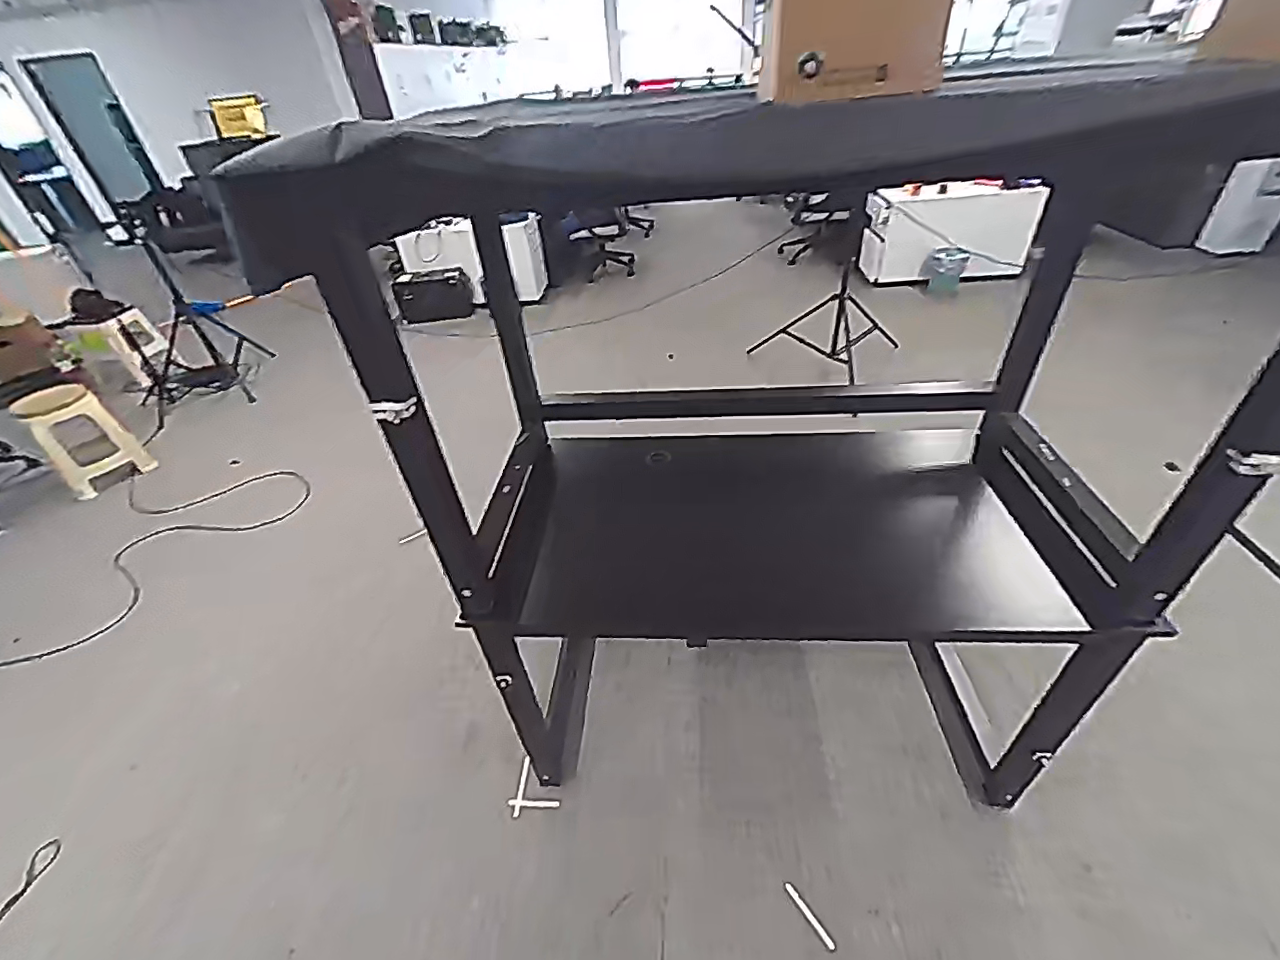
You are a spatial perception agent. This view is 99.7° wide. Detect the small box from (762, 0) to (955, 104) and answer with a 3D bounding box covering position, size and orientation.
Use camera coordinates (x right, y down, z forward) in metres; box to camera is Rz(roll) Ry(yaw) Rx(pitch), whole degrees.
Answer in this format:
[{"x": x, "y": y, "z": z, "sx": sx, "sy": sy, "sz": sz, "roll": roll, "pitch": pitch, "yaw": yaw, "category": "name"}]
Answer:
[{"x": 0.224, "y": -0.508, "z": 0.571, "sx": 0.168, "sy": 0.176, "sz": 0.179, "roll": -1, "pitch": 36, "yaw": 6, "category": "small box"}]
